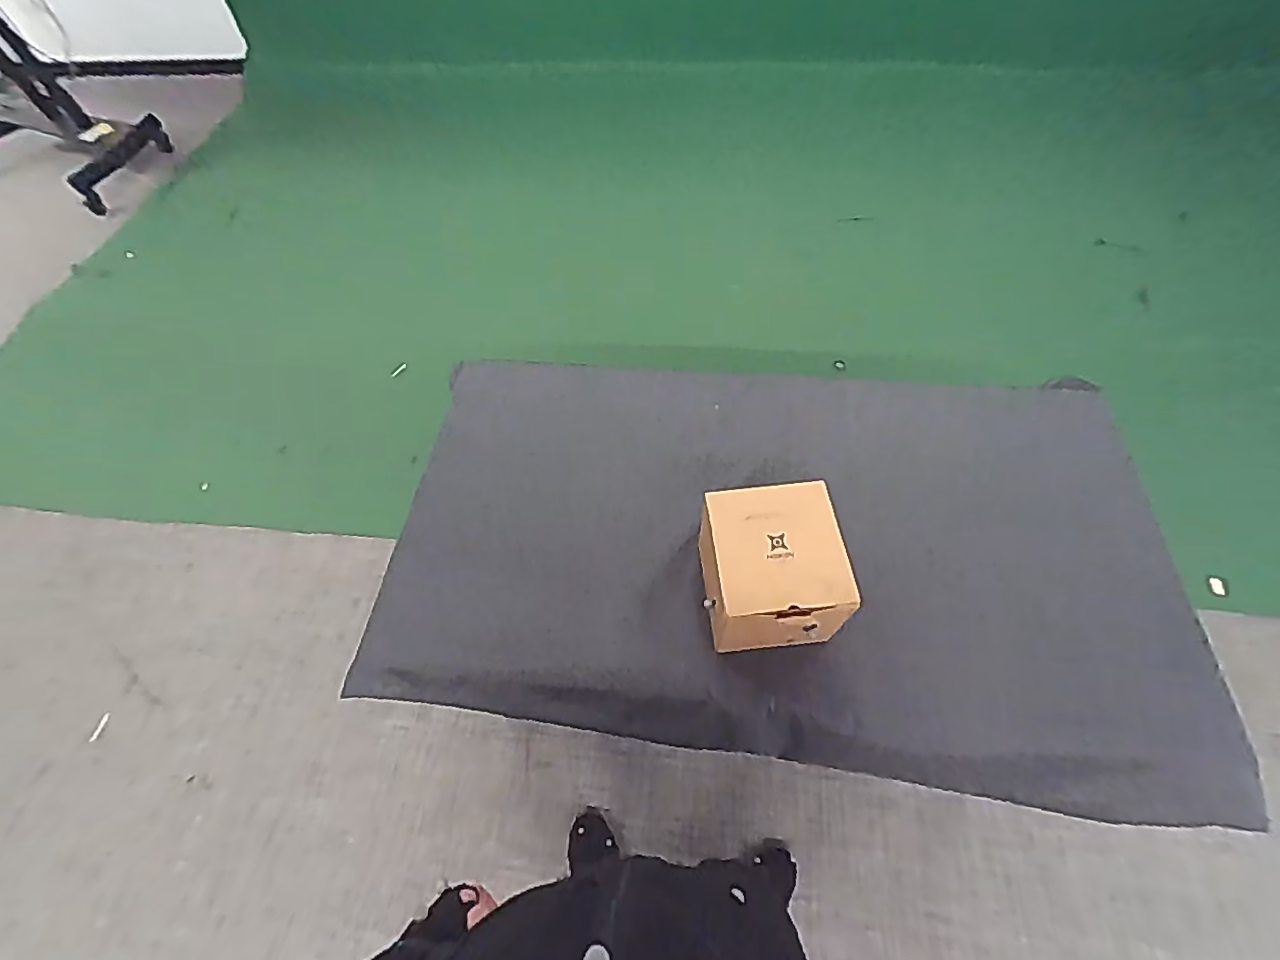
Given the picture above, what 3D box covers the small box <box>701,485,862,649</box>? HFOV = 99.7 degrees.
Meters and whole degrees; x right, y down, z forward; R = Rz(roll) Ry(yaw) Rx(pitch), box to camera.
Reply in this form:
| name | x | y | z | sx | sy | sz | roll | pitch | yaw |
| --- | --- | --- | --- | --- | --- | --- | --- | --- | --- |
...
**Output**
| name | x | y | z | sx | sy | sz | roll | pitch | yaw |
| --- | --- | --- | --- | --- | --- | --- | --- | --- | --- |
| small box | 0.183 | 0.130 | 0.760 | 0.168 | 0.176 | 0.179 | -6 | 58 | -2 |
